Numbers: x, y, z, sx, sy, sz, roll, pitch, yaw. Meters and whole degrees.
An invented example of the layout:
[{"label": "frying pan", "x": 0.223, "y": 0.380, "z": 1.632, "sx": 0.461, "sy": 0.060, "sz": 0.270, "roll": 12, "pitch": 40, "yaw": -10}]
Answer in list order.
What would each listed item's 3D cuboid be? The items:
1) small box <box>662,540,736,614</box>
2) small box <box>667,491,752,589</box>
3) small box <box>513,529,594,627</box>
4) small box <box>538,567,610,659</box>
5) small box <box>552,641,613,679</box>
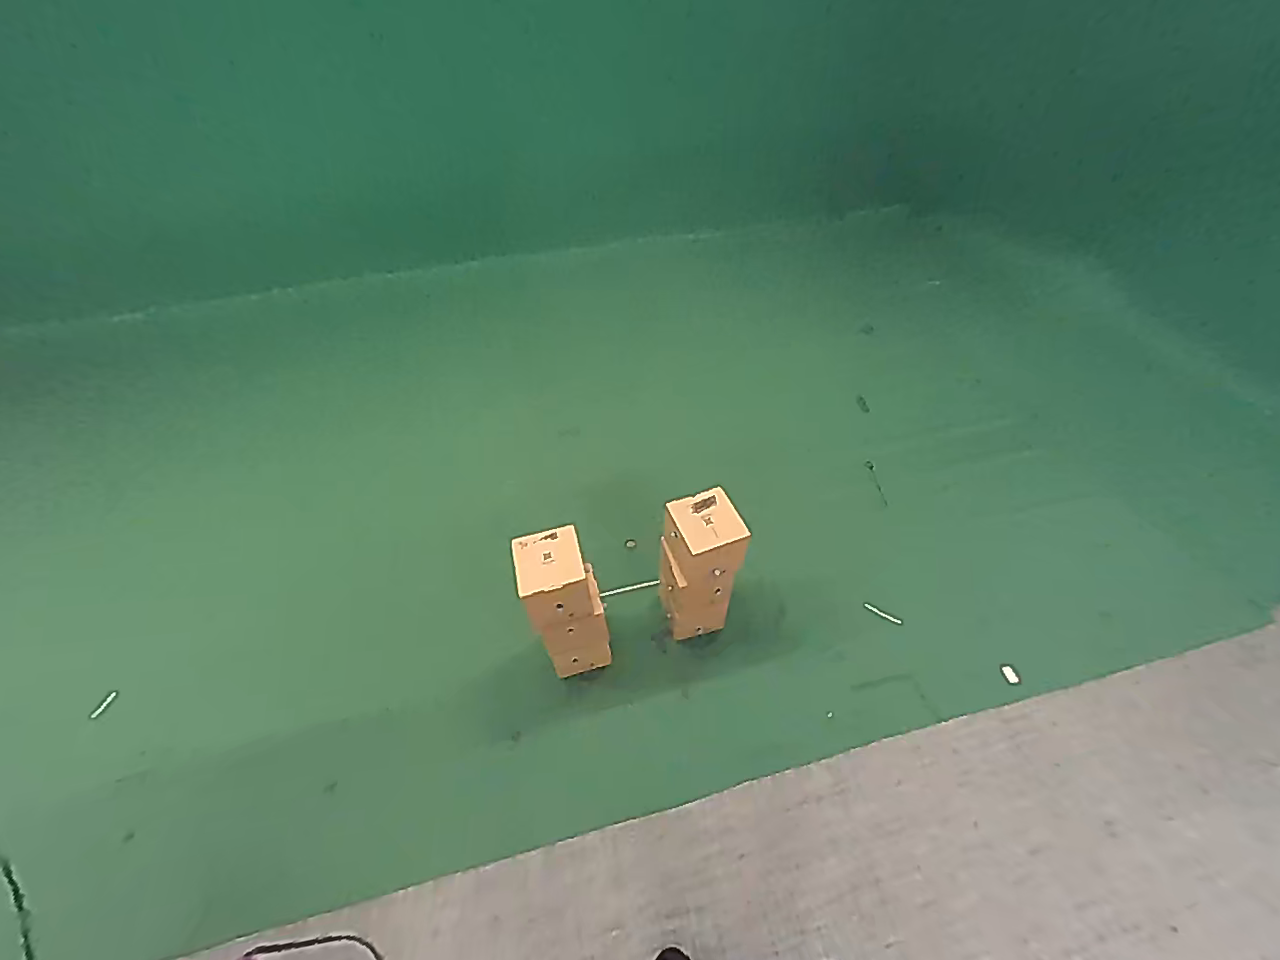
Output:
[{"label": "small box", "x": 0.167, "y": 0.274, "z": 1.579, "sx": 0.168, "sy": 0.176, "sz": 0.179, "roll": -12, "pitch": 50, "yaw": -10}, {"label": "small box", "x": 0.178, "y": 0.164, "z": 1.459, "sx": 0.168, "sy": 0.176, "sz": 0.179, "roll": -17, "pitch": 52, "yaw": -13}, {"label": "small box", "x": -0.219, "y": 0.258, "z": 1.390, "sx": 0.168, "sy": 0.176, "sz": 0.179, "roll": -13, "pitch": 49, "yaw": -8}, {"label": "small box", "x": -0.190, "y": 0.374, "z": 1.506, "sx": 0.179, "sy": 0.176, "sz": 0.168, "roll": -13, "pitch": 49, "yaw": -9}, {"label": "small box", "x": -0.183, "y": 0.479, "z": 1.632, "sx": 0.168, "sy": 0.176, "sz": 0.179, "roll": -14, "pitch": 48, "yaw": -9}]
